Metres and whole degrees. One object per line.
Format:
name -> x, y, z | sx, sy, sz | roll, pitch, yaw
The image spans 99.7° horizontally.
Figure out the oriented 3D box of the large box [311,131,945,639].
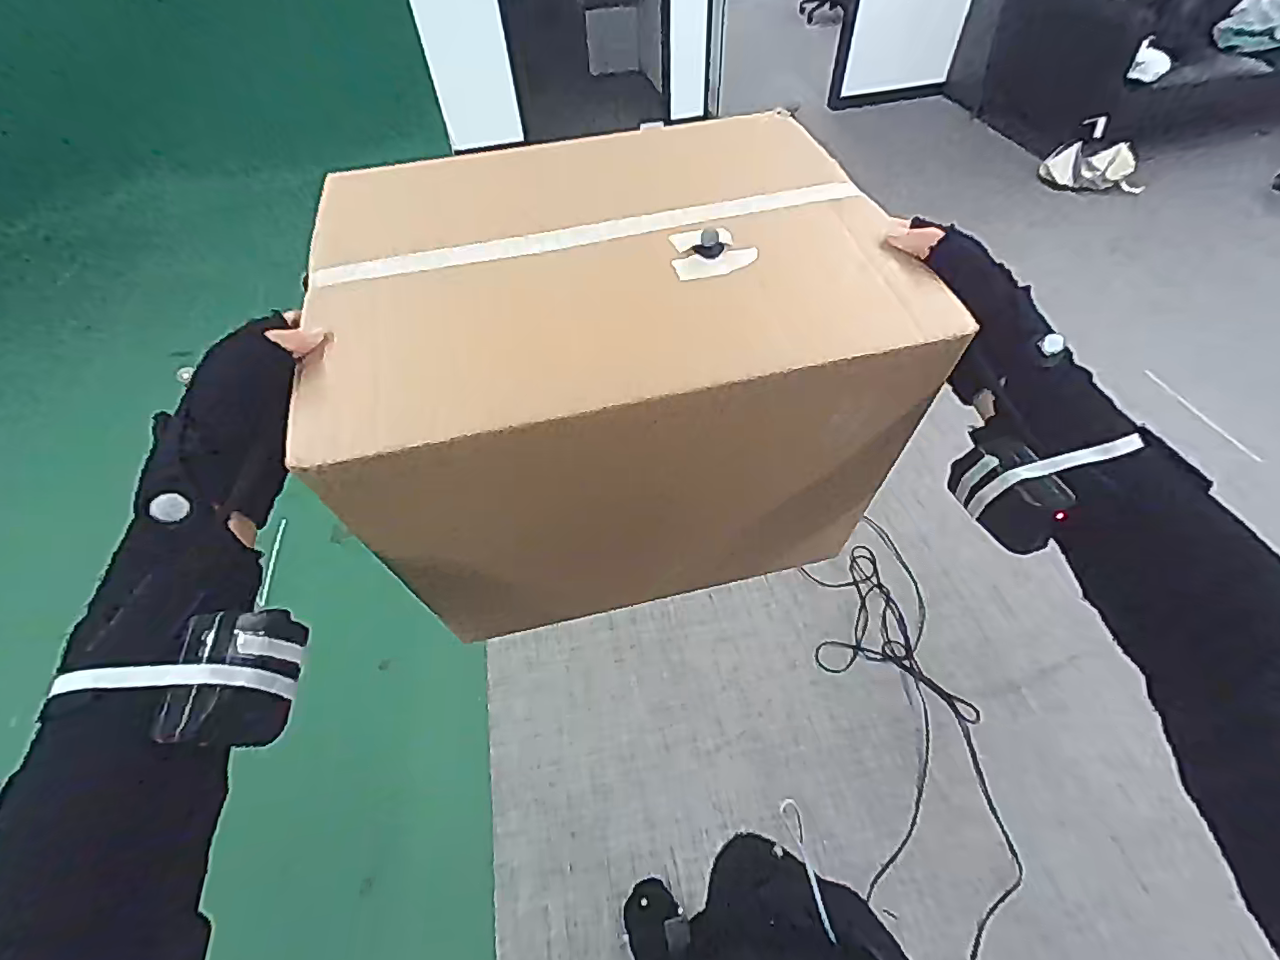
large box -> -0.027, -0.083, 0.527 | 0.408, 0.320, 0.320 | -12, 57, -7
